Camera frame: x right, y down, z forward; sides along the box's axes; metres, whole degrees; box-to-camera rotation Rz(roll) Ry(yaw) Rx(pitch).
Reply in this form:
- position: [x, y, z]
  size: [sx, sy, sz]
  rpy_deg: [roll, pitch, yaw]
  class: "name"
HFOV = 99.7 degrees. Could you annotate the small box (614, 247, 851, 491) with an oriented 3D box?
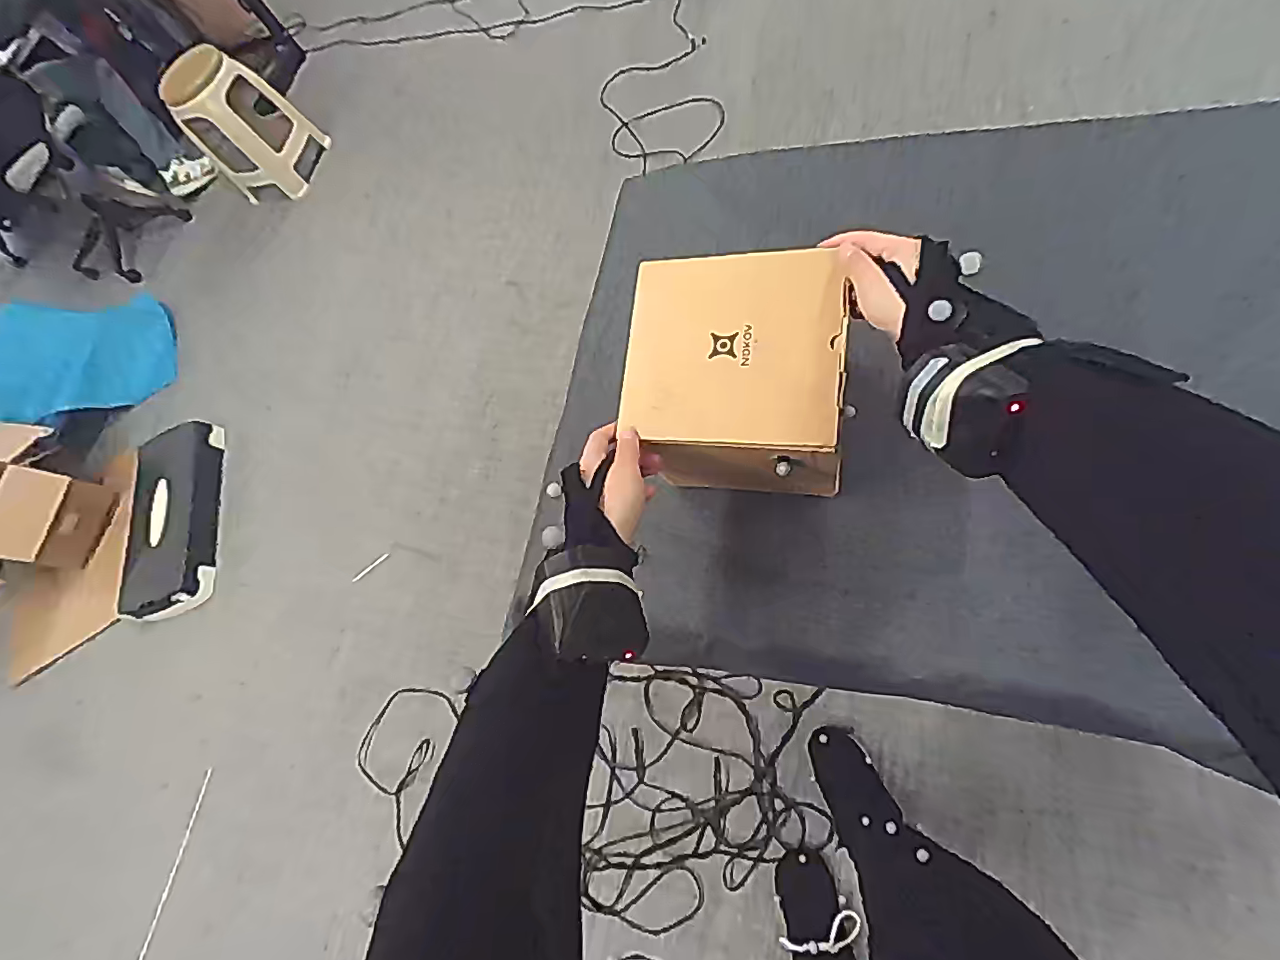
- position: [0.095, -0.089, 0.506]
  size: [0.179, 0.176, 0.168]
  rpy_deg: [4, 78, 19]
  class: "small box"
